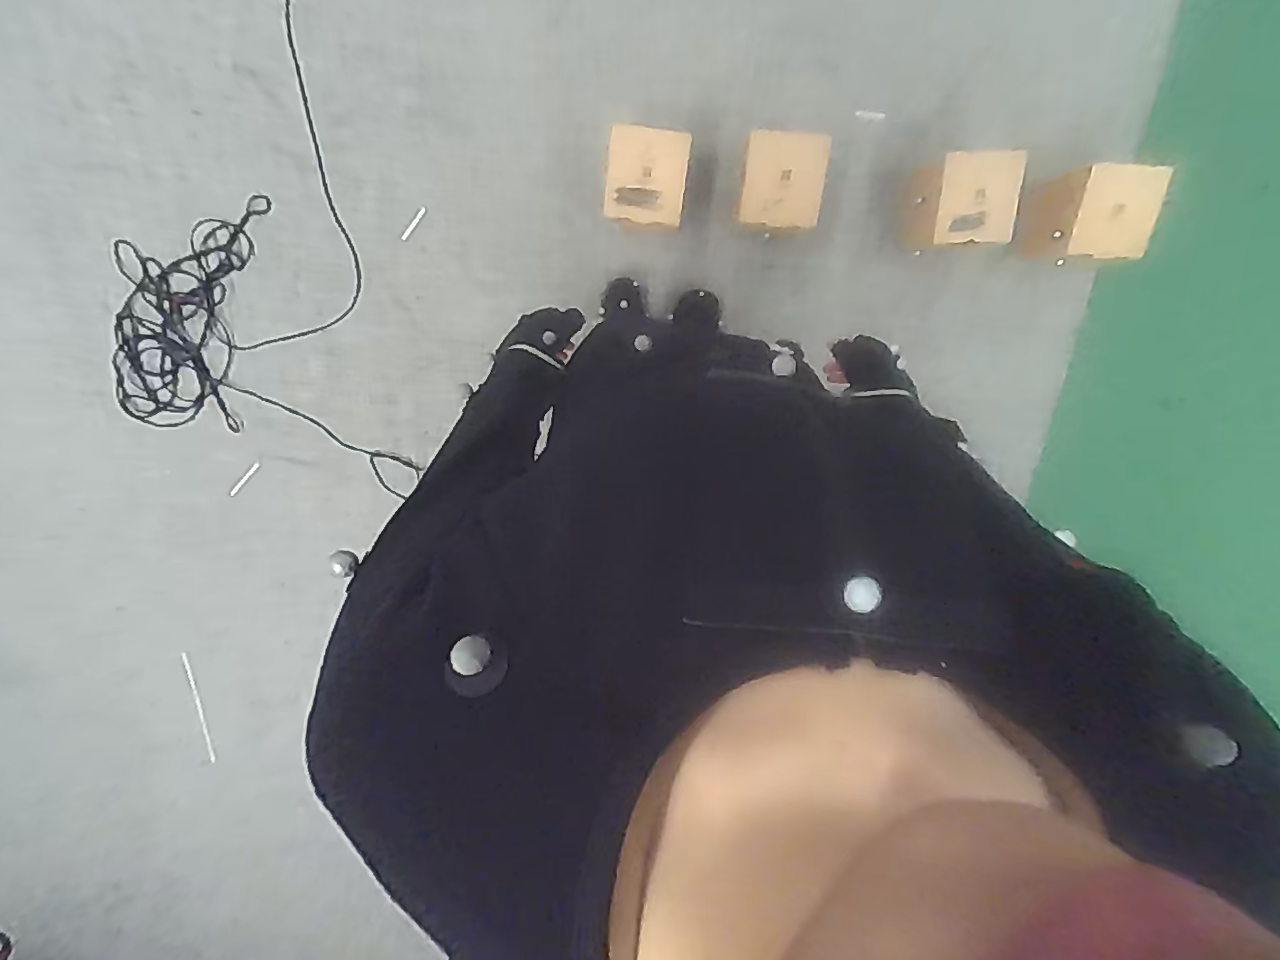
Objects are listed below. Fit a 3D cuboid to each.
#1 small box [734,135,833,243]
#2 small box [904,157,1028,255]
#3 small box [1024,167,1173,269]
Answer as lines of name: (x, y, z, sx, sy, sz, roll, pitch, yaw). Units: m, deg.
small box: (0.307, -0.635, 1.197, 0.168, 0.176, 0.179, 5, 109, 1)
small box: (0.708, -0.598, 1.199, 0.168, 0.176, 0.179, 0, 107, 1)
small box: (1.000, -0.572, 1.200, 0.168, 0.176, 0.179, 4, 108, 1)
